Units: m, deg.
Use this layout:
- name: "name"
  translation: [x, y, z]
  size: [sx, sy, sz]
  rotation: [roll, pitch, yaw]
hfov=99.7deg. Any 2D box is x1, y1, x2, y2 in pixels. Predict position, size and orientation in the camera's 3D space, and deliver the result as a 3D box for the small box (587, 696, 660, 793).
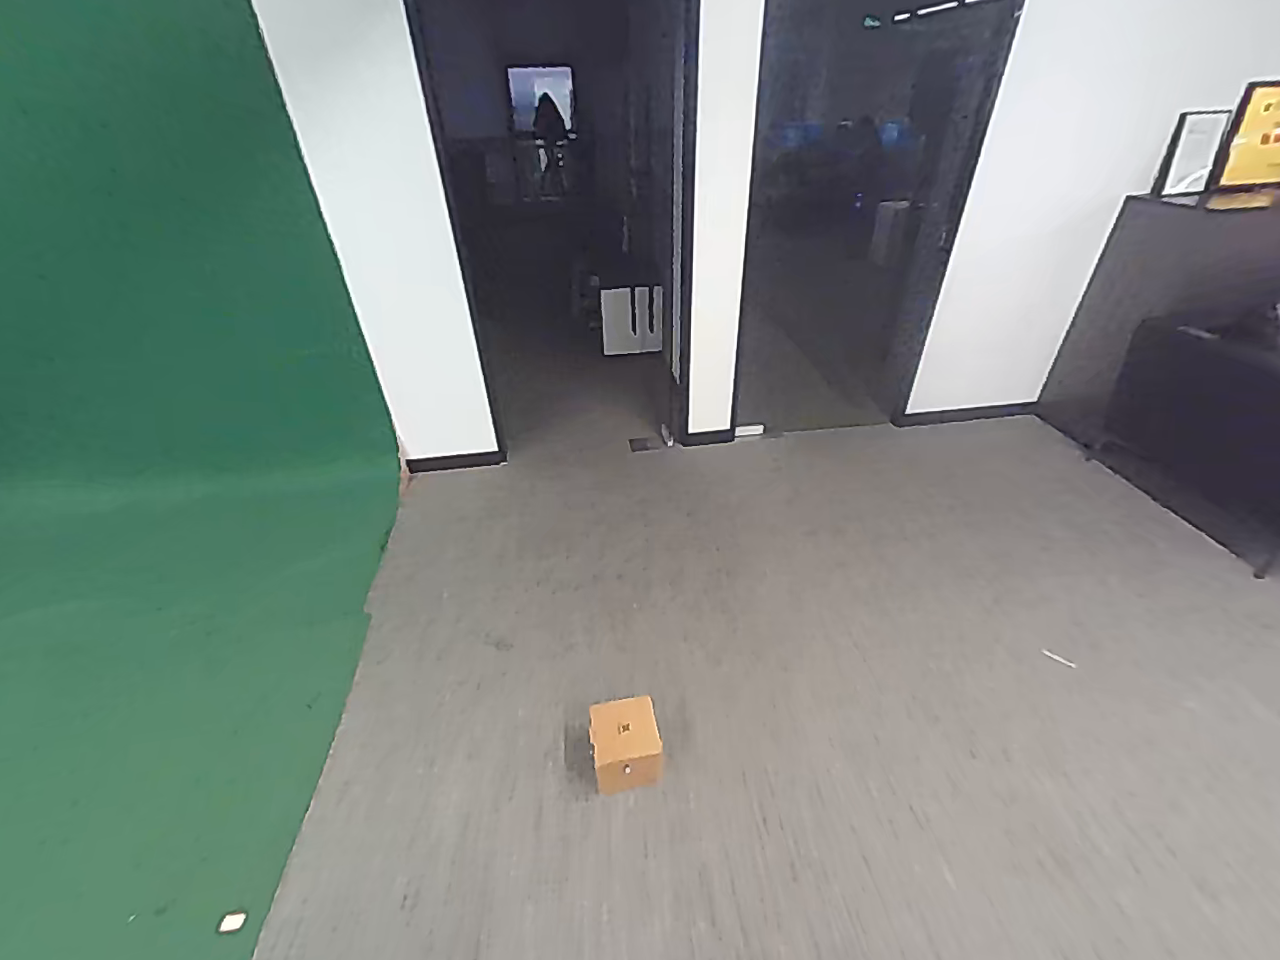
- name: "small box"
  translation: [-0.046, 0.721, 1.475]
  size: [0.179, 0.176, 0.168]
  rotation: [-8, 37, -7]
